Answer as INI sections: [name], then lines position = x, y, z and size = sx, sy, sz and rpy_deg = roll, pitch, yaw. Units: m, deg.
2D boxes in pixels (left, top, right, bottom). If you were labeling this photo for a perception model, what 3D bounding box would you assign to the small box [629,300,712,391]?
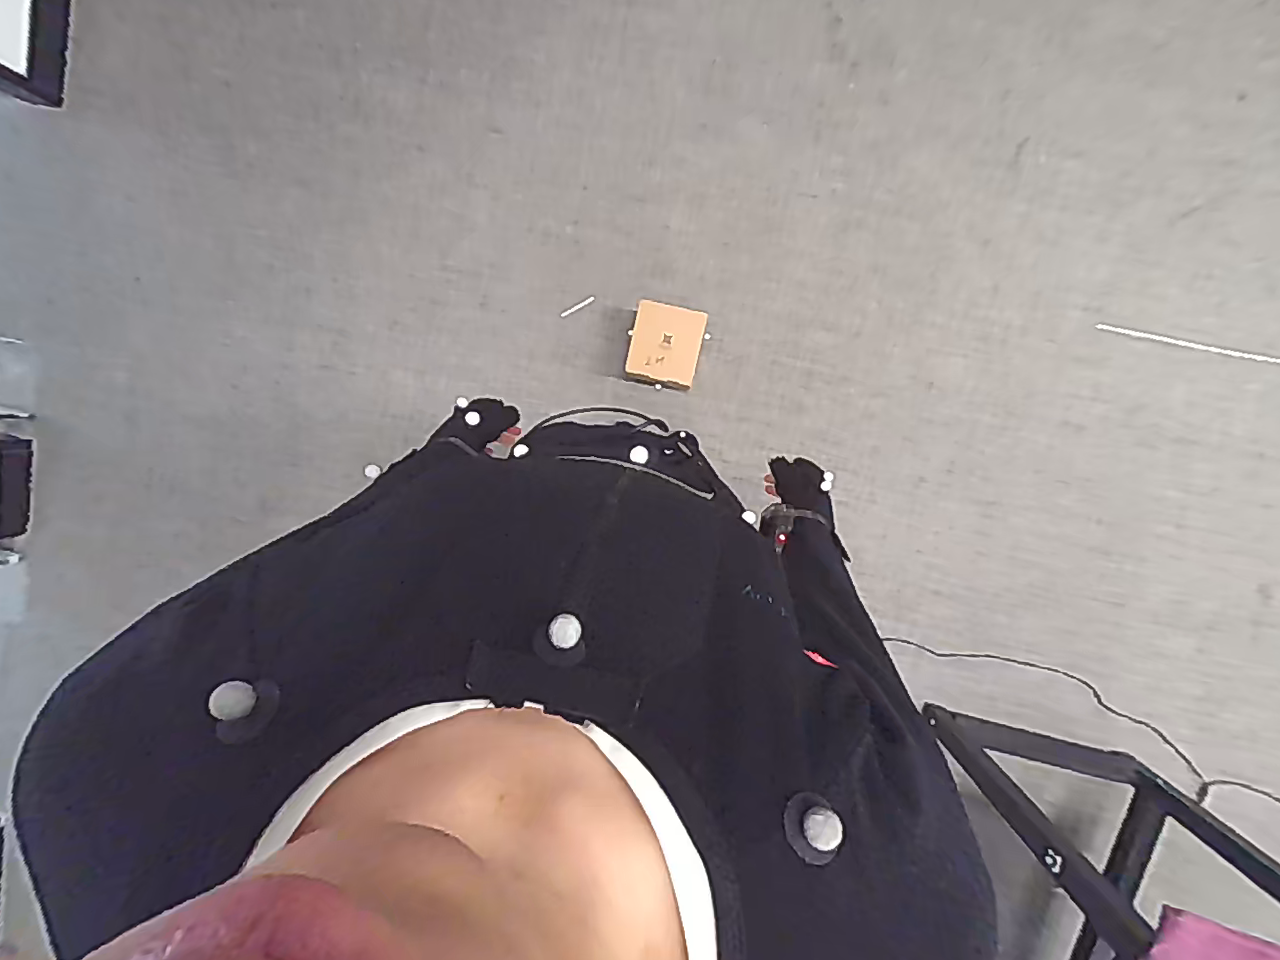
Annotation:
[small box]
position = 0.075, -0.329, 1.350
size = 0.168, 0.176, 0.179
rpy_deg = 13, 97, 3
